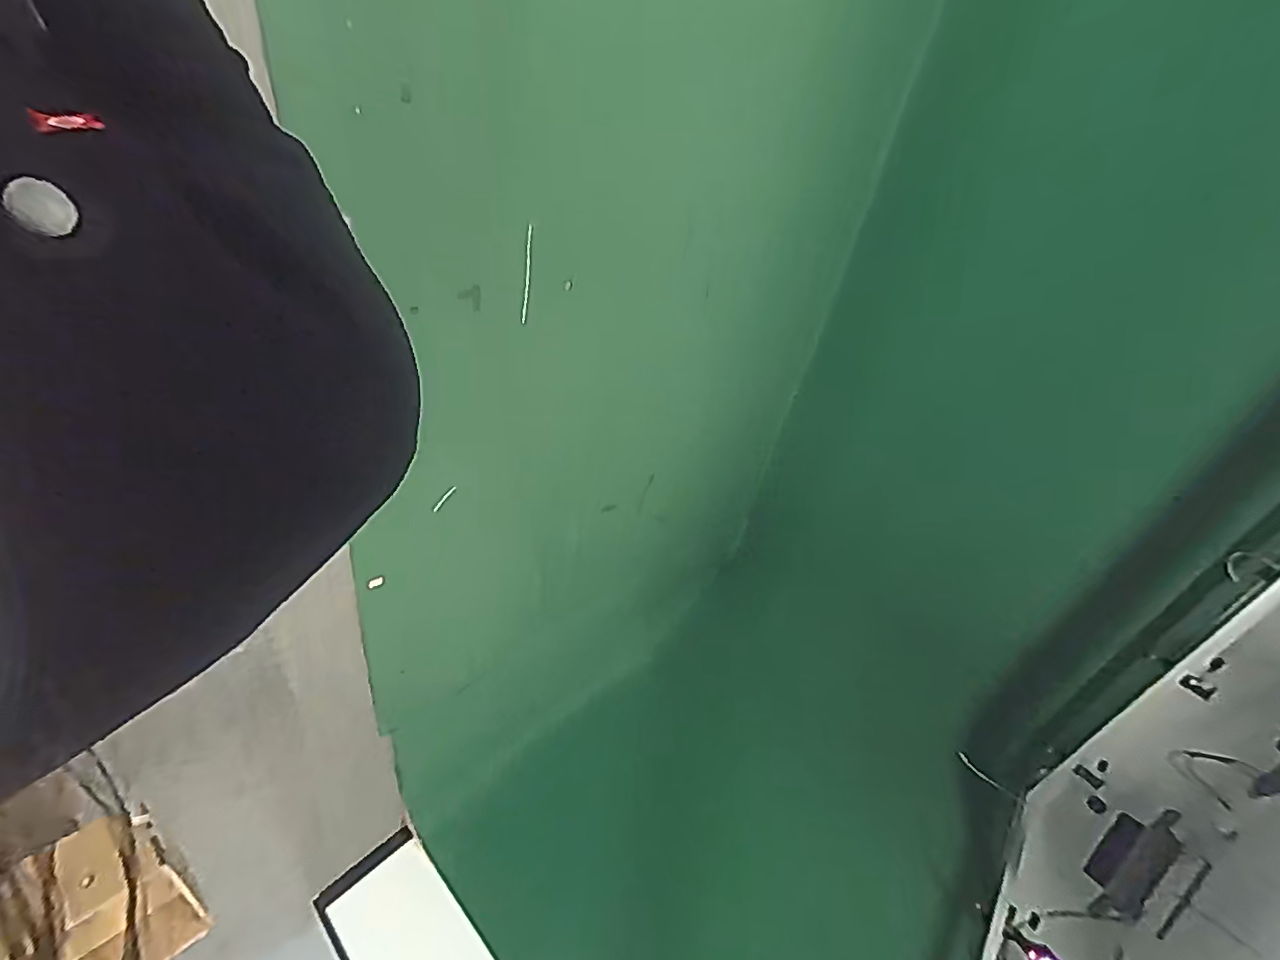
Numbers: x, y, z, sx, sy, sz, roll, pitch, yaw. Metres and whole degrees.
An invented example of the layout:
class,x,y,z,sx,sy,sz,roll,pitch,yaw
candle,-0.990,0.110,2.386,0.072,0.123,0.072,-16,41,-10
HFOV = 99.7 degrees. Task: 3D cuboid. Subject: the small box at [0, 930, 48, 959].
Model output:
class,x,y,z,sx,sy,sz,roll,pitch,yaw
small box,-1.274,1.015,1.031,0.168,0.176,0.179,-33,144,-38
